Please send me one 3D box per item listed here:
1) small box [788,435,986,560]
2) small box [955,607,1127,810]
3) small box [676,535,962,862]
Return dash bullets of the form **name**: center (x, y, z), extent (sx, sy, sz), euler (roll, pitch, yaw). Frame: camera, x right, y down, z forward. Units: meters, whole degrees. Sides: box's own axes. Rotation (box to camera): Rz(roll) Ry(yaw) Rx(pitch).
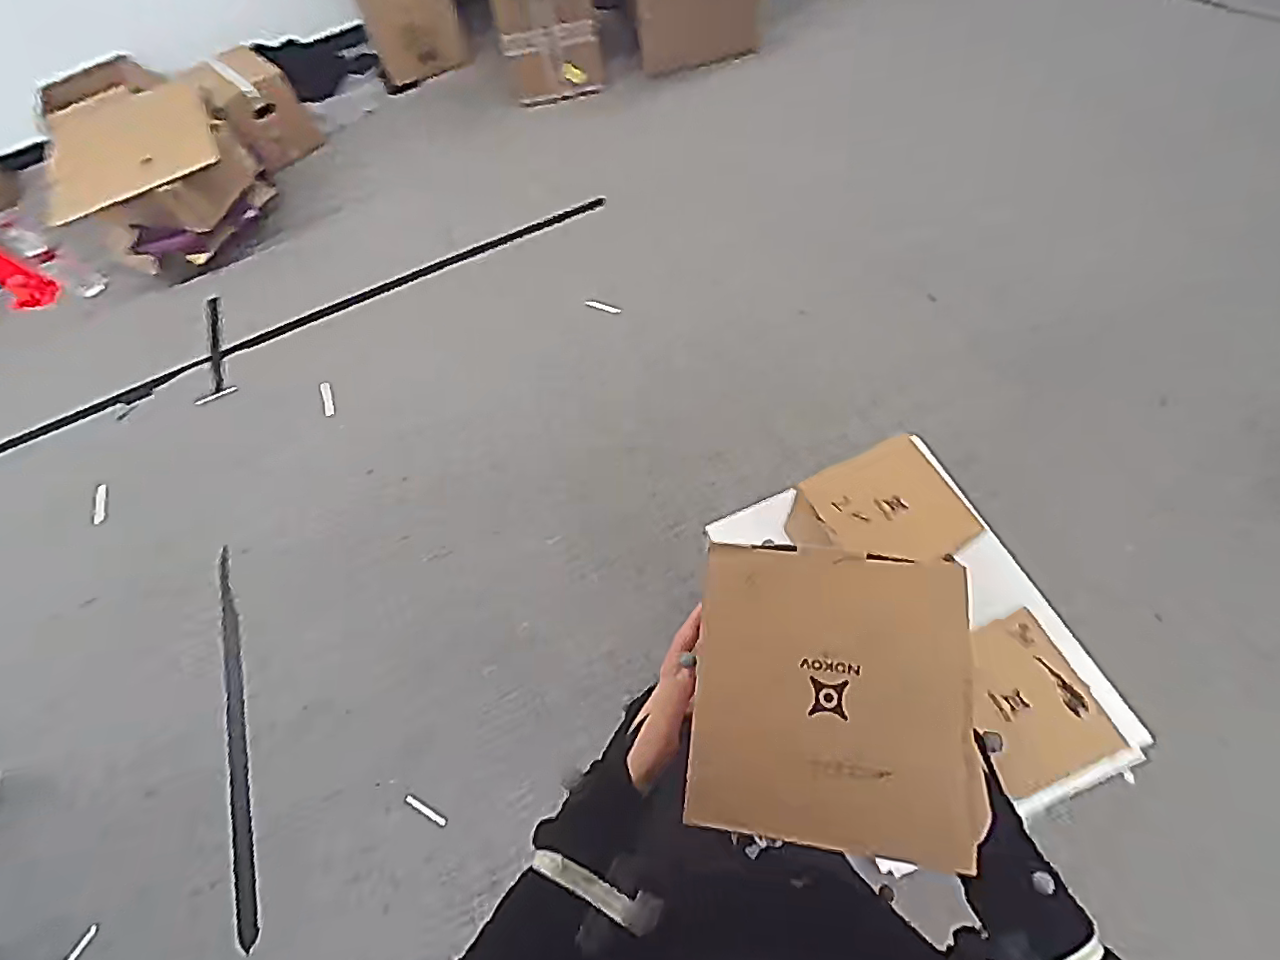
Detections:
- **small box**: center (0.334, 0.070, 0.775), extent (0.179, 0.176, 0.168), euler (-25, 63, -5)
- **small box**: center (0.411, 0.280, 0.663), extent (0.179, 0.176, 0.168), euler (-22, 62, -2)
- **small box**: center (0.121, 0.148, 0.414), extent (0.168, 0.176, 0.179), euler (4, 76, 10)
